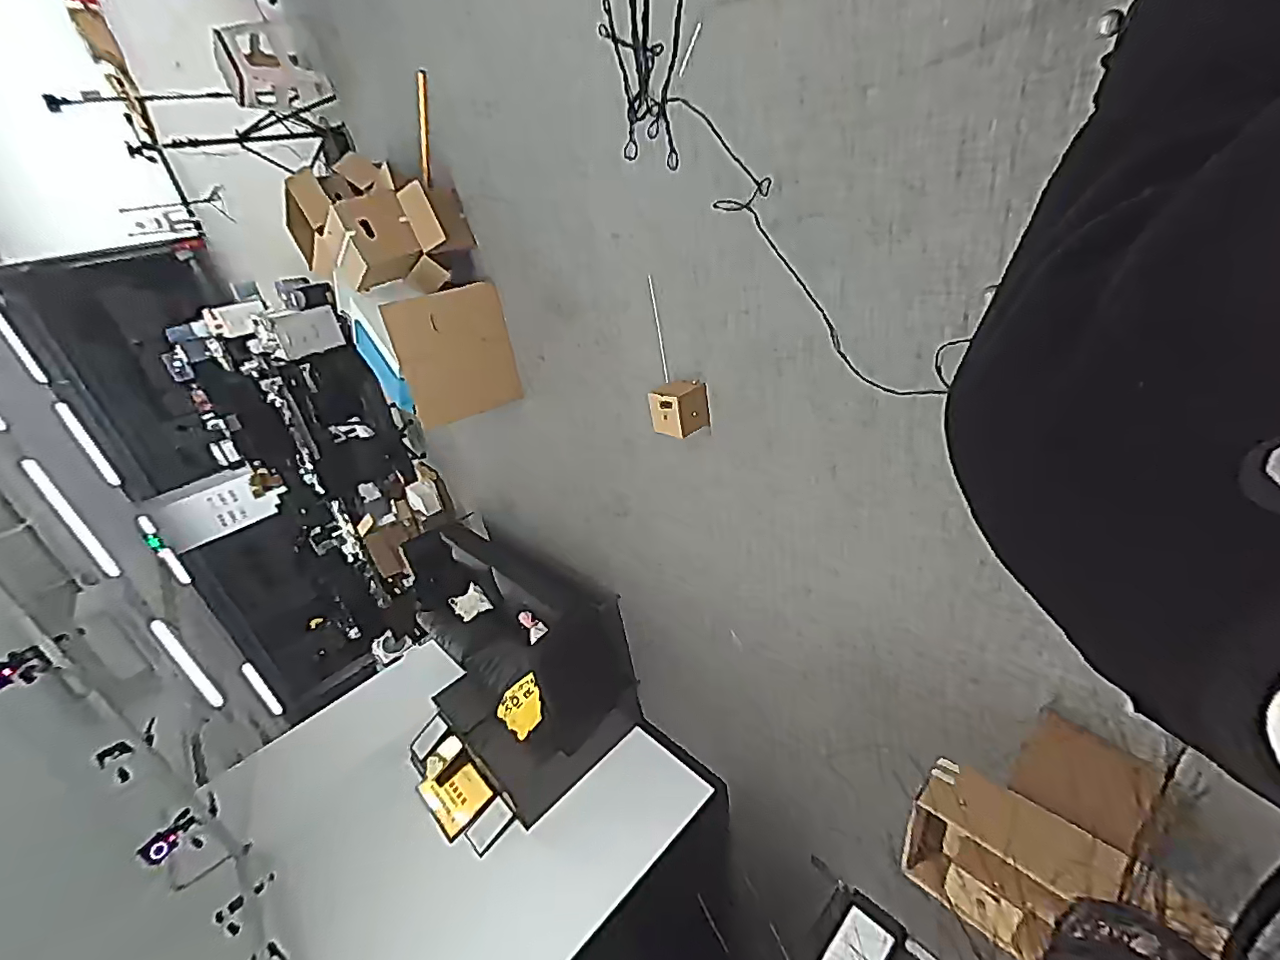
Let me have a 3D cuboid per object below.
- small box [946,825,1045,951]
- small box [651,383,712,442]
[{"bbox_3d":[0.943,1.074,1.434,0.168,0.176,0.179,22,132,41],"label":"small box"},{"bbox_3d":[0.169,-0.279,2.174,0.168,0.176,0.179,20,131,45],"label":"small box"}]
